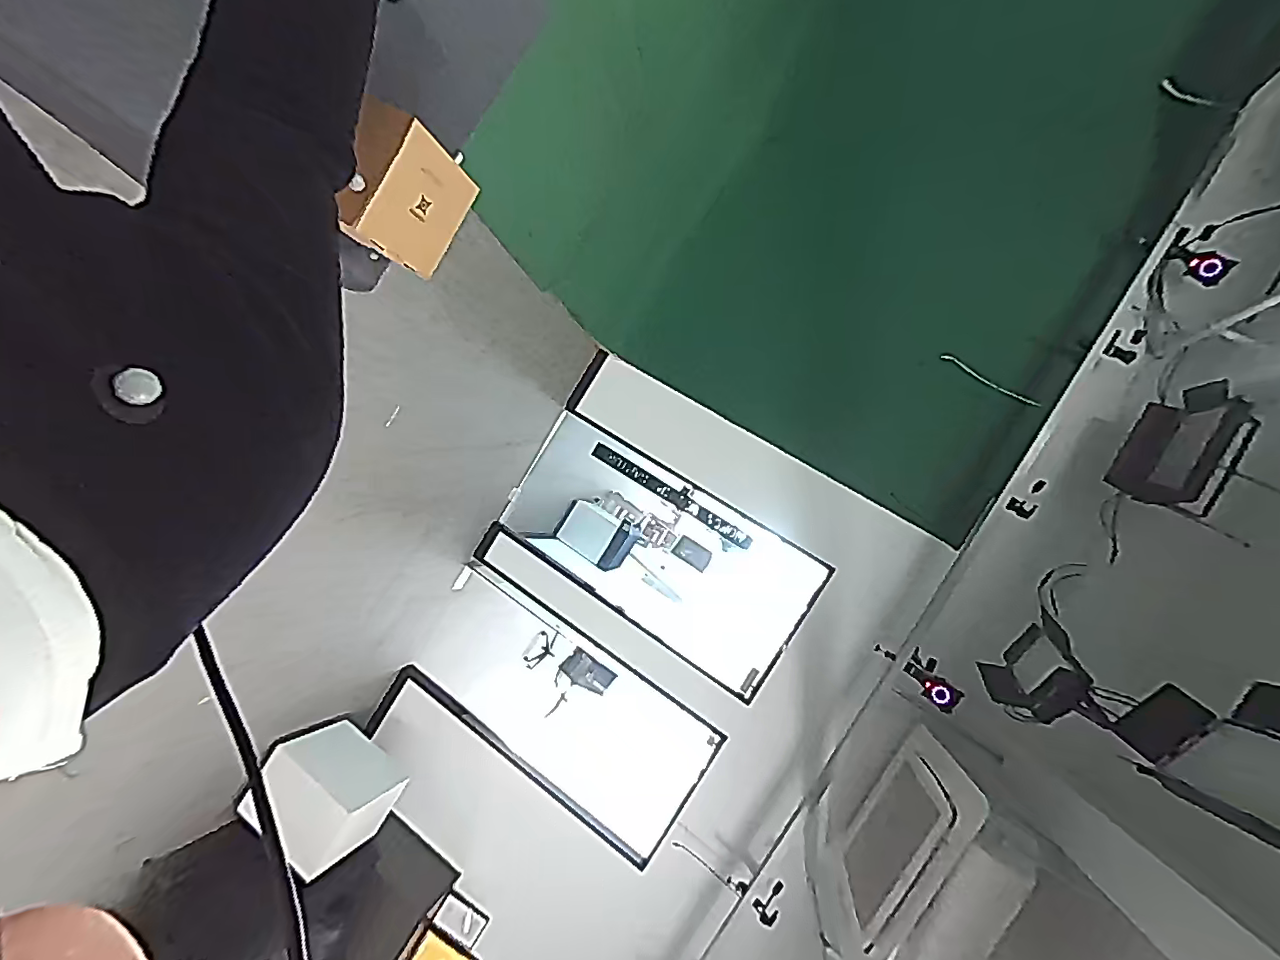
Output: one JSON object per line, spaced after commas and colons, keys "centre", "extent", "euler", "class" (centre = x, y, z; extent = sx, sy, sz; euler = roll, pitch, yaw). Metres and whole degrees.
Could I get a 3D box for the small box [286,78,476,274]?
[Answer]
{"centre": [-0.398, -0.462, 0.835], "extent": [0.179, 0.176, 0.168], "euler": [-59, 166, 3], "class": "small box"}
